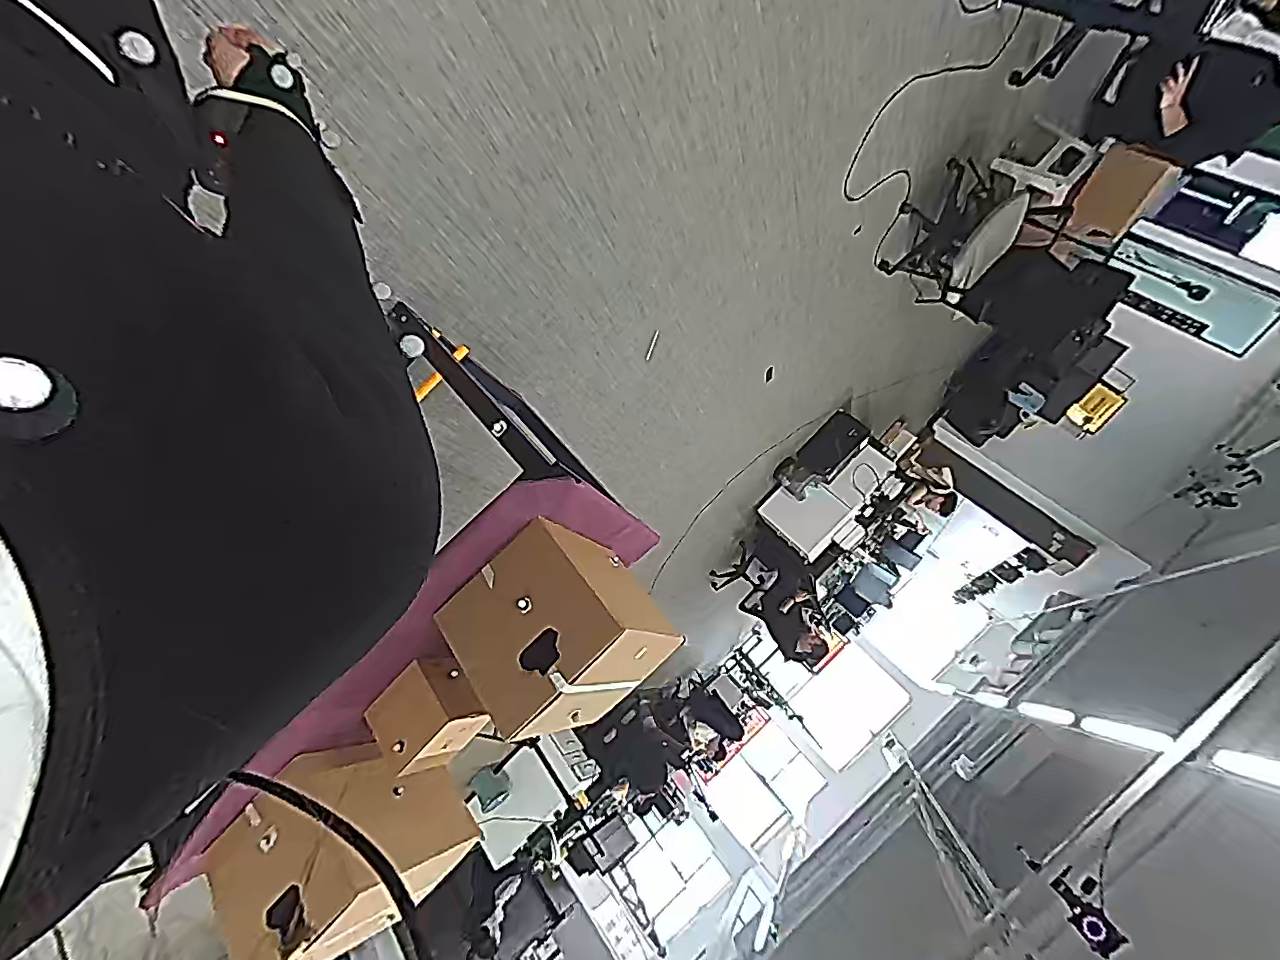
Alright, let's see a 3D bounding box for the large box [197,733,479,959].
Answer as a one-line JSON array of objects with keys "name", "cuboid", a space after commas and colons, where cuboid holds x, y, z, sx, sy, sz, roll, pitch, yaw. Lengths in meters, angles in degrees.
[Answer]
[{"name": "large box", "cuboid": [-0.664, 0.831, 1.232, 0.320, 0.320, 0.408, -45, 155, 1]}]
